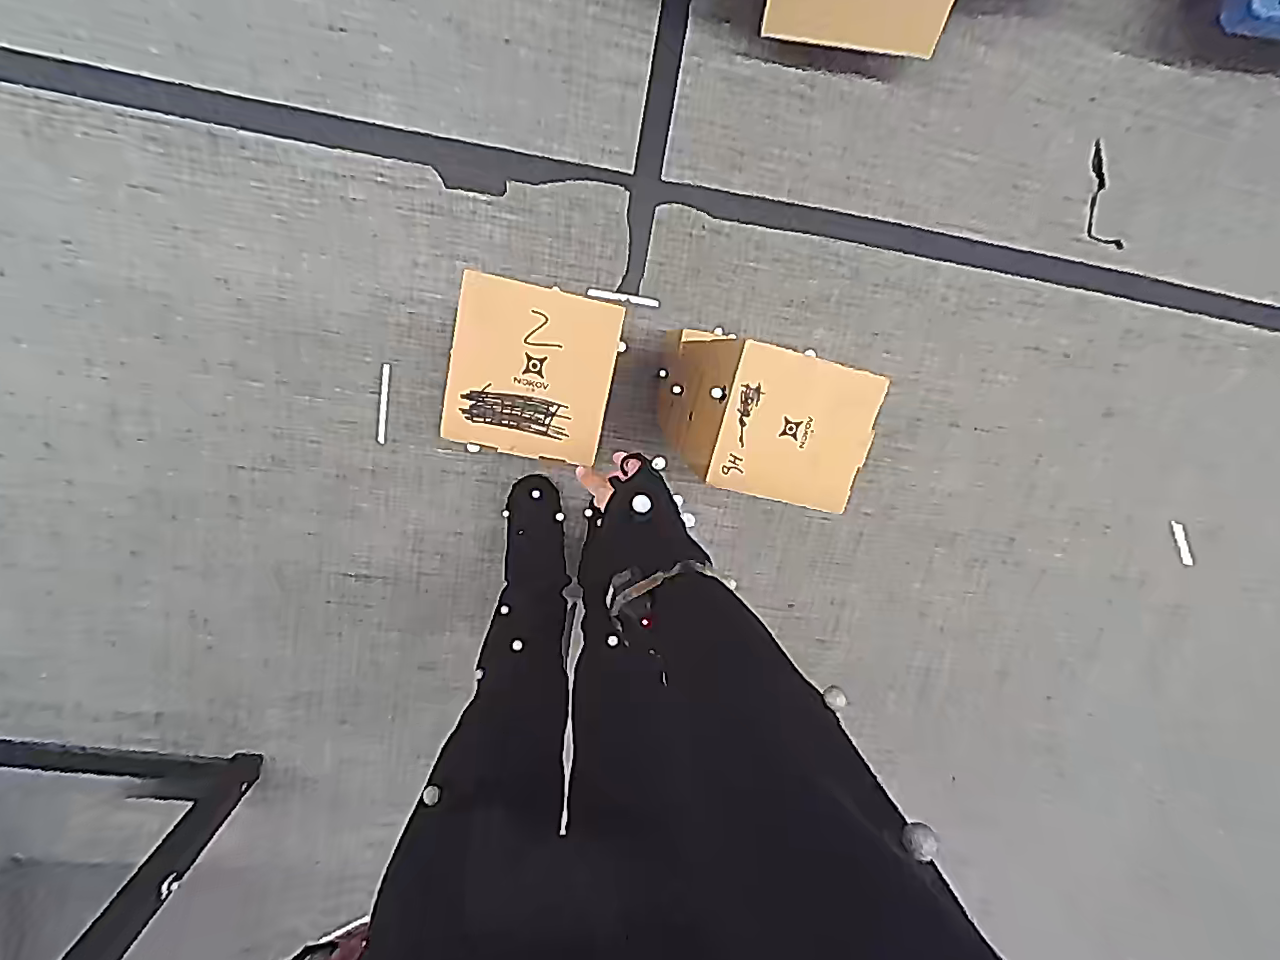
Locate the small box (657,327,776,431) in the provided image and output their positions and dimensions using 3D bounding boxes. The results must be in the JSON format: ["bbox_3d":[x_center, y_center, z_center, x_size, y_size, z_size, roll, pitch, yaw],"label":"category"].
[{"bbox_3d":[0.131,-0.175,0.985,0.168,0.176,0.179,7,102,-9],"label":"small box"}]

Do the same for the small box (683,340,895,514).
[{"bbox_3d":[0.170,-0.074,0.674,0.179,0.176,0.168,13,102,-11],"label":"small box"}]

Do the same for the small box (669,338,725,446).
[{"bbox_3d":[0.151,-0.117,0.831,0.179,0.176,0.168,9,103,-10],"label":"small box"}]

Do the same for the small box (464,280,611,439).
[{"bbox_3d":[-0.145,-0.172,0.787,0.168,0.176,0.179,12,101,-11],"label":"small box"}]
